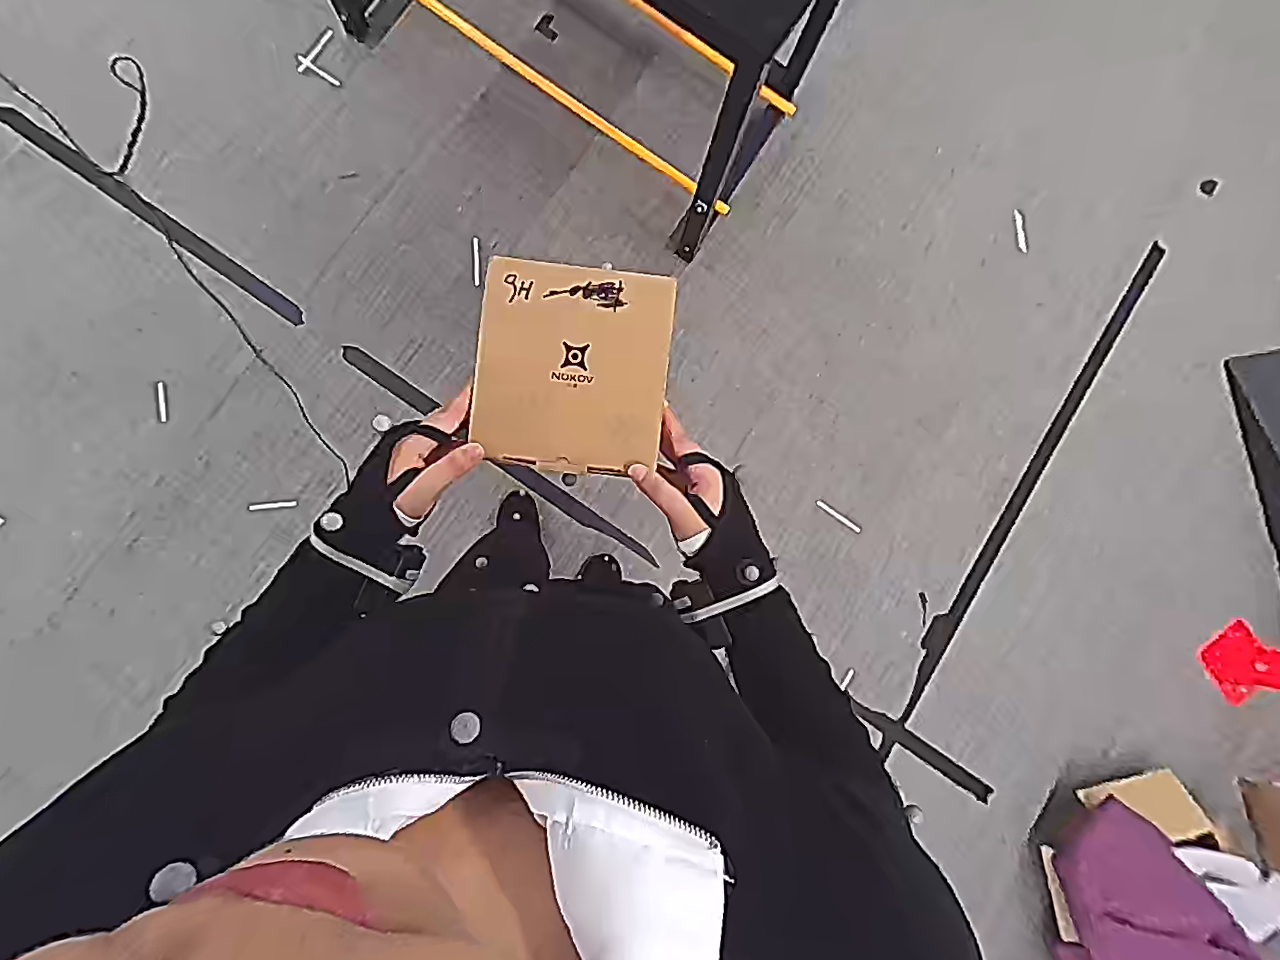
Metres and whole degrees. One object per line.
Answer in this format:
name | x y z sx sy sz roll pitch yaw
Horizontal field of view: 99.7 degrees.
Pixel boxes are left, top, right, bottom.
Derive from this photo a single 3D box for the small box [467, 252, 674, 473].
small box | -0.061 -0.103 0.546 0.168 0.176 0.179 6 91 -2
